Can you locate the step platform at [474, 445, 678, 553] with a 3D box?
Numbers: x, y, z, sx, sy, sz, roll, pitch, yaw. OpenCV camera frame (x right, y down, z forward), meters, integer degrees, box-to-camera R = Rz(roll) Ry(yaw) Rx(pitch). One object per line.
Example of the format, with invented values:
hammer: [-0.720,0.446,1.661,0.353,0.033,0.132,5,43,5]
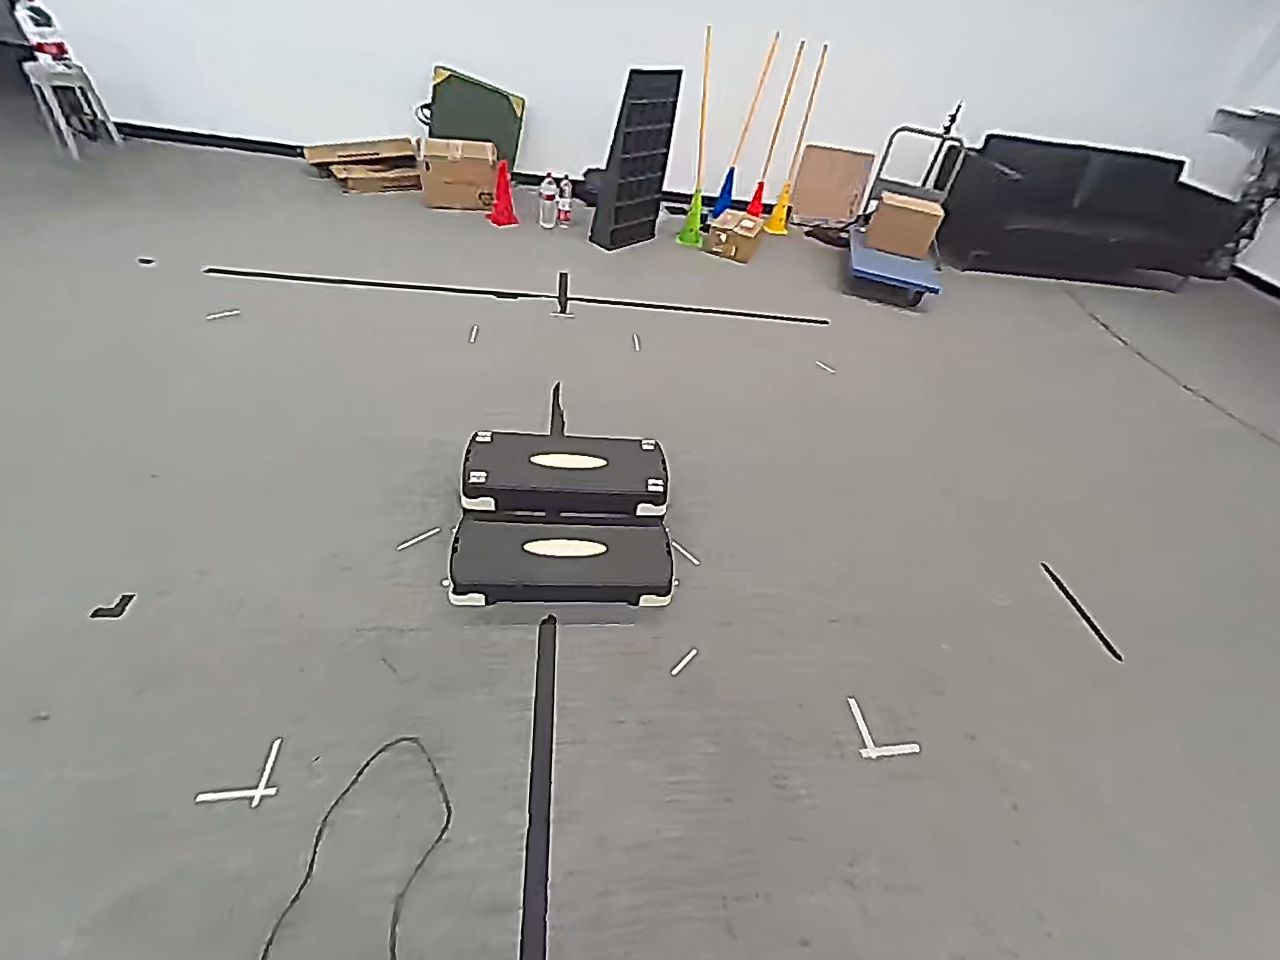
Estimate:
step platform: [-0.212,0.063,1.859,0.684,0.204,0.286,6,42,-6]
